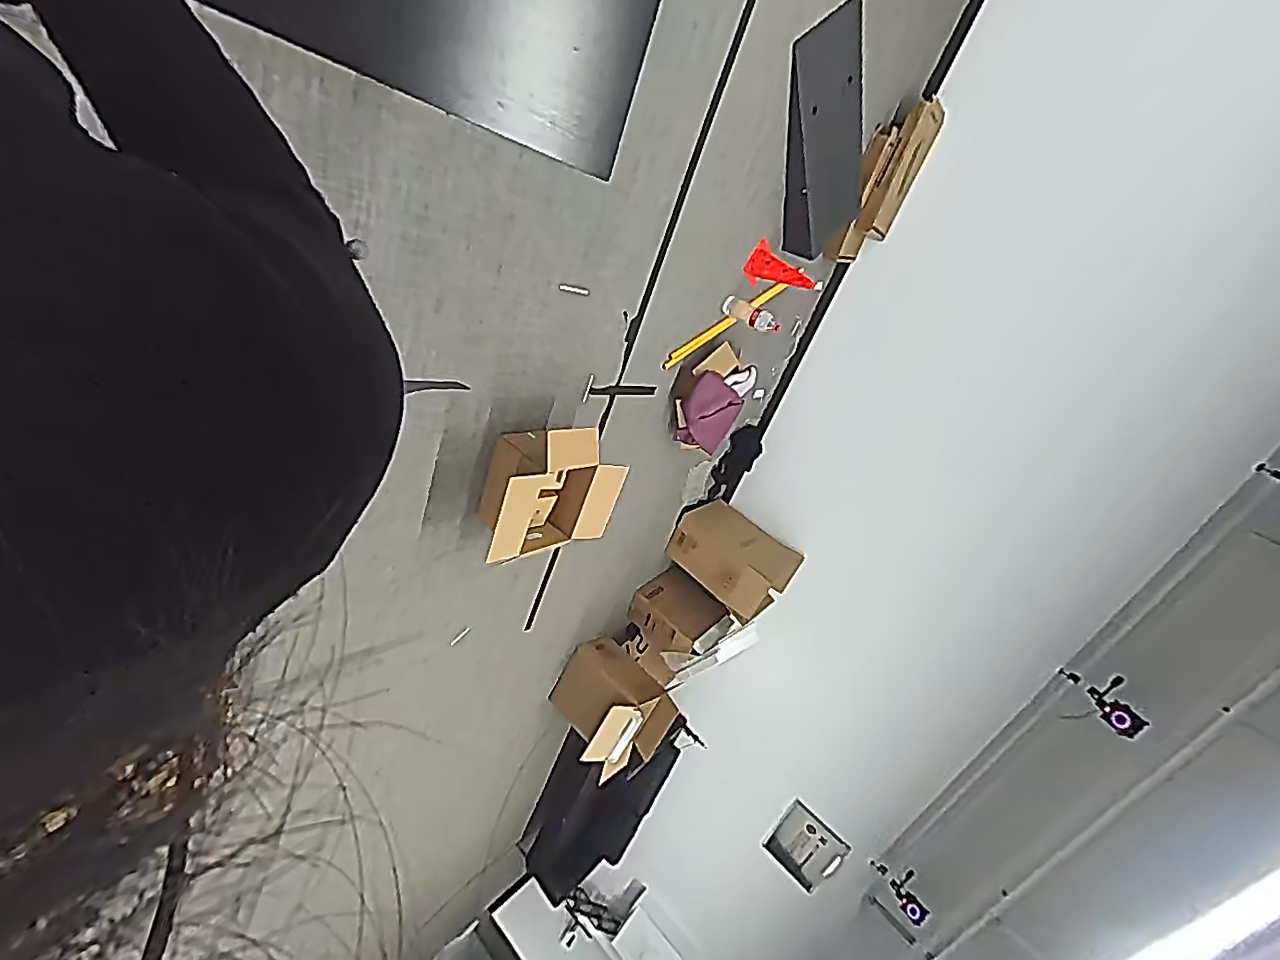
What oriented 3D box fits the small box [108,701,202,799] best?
[{"bbox_3d":[-1.468,0.806,1.636,0.179,0.176,0.168,-6,125,-54],"label":"small box"}]
